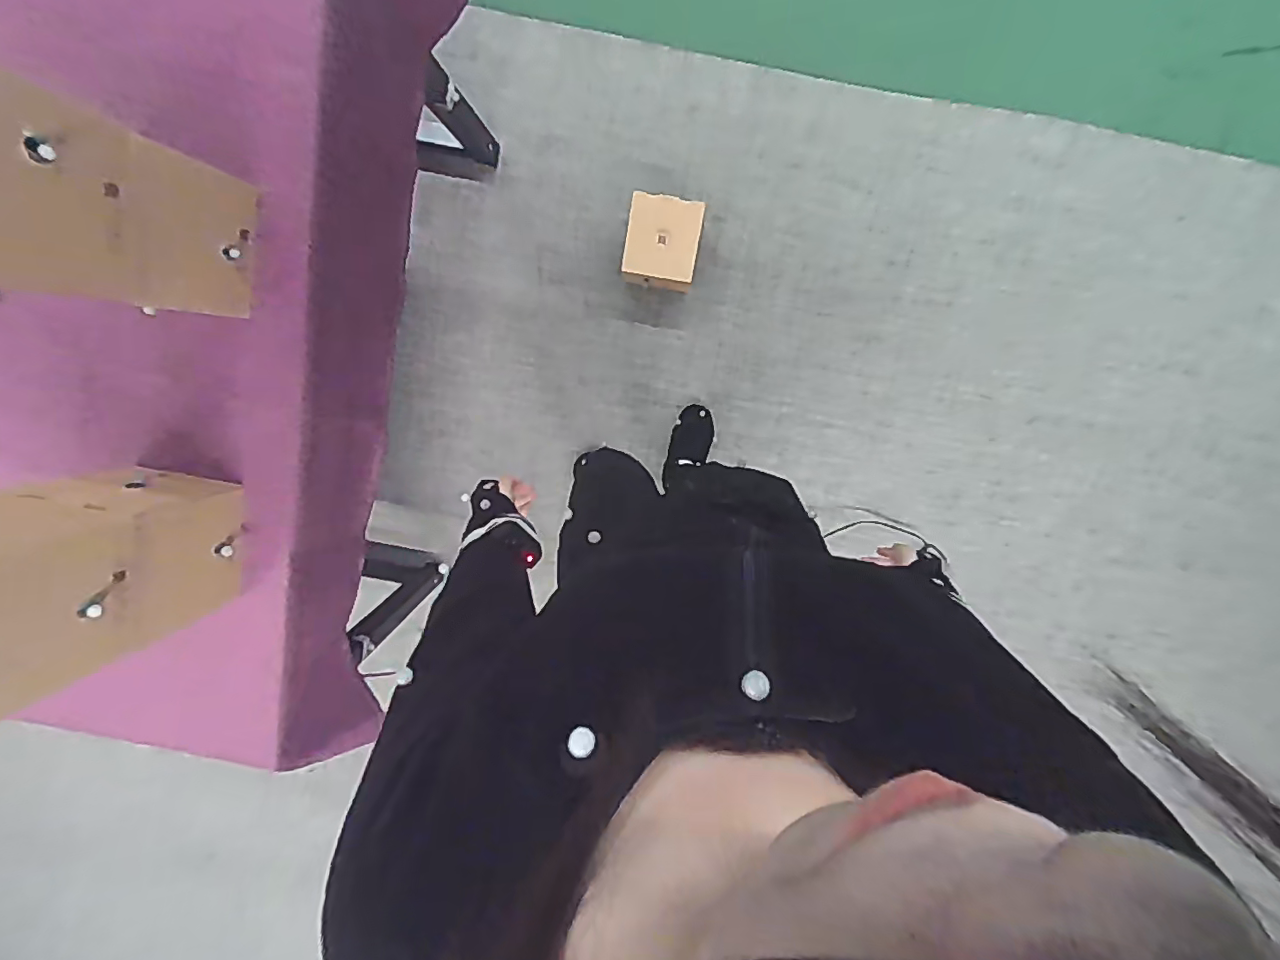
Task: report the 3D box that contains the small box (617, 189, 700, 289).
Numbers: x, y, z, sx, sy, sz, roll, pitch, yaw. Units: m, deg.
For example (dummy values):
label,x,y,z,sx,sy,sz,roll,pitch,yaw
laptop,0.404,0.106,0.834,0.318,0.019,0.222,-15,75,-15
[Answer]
label,x,y,z,sx,sy,sz,roll,pitch,yaw
small box,0.045,-0.566,1.296,0.168,0.176,0.179,9,101,0

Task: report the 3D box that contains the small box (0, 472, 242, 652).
label,x,y,z,sx,sy,sz,roll,pitch,yaw
small box,-0.664,0.095,0.711,0.168,0.176,0.179,10,101,0
